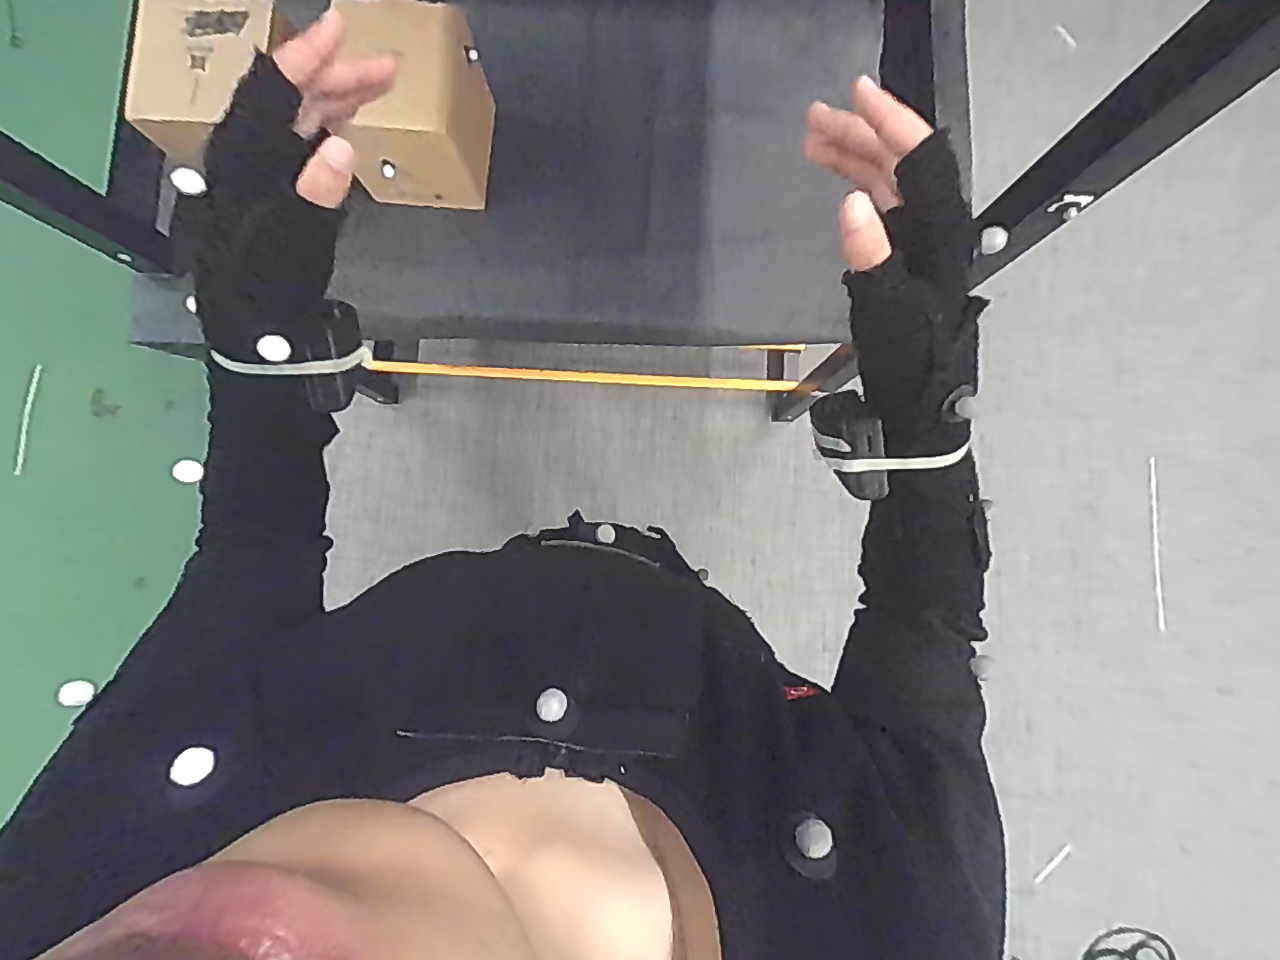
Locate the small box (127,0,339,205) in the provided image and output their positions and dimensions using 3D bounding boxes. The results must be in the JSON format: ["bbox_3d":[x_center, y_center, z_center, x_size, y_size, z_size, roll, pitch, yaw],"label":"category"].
[{"bbox_3d":[-0.540,-0.516,0.747,0.168,0.176,0.179,3,85,-1],"label":"small box"}]

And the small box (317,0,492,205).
[{"bbox_3d":[-0.313,-0.513,0.753,0.168,0.176,0.179,4,84,-1],"label":"small box"}]
